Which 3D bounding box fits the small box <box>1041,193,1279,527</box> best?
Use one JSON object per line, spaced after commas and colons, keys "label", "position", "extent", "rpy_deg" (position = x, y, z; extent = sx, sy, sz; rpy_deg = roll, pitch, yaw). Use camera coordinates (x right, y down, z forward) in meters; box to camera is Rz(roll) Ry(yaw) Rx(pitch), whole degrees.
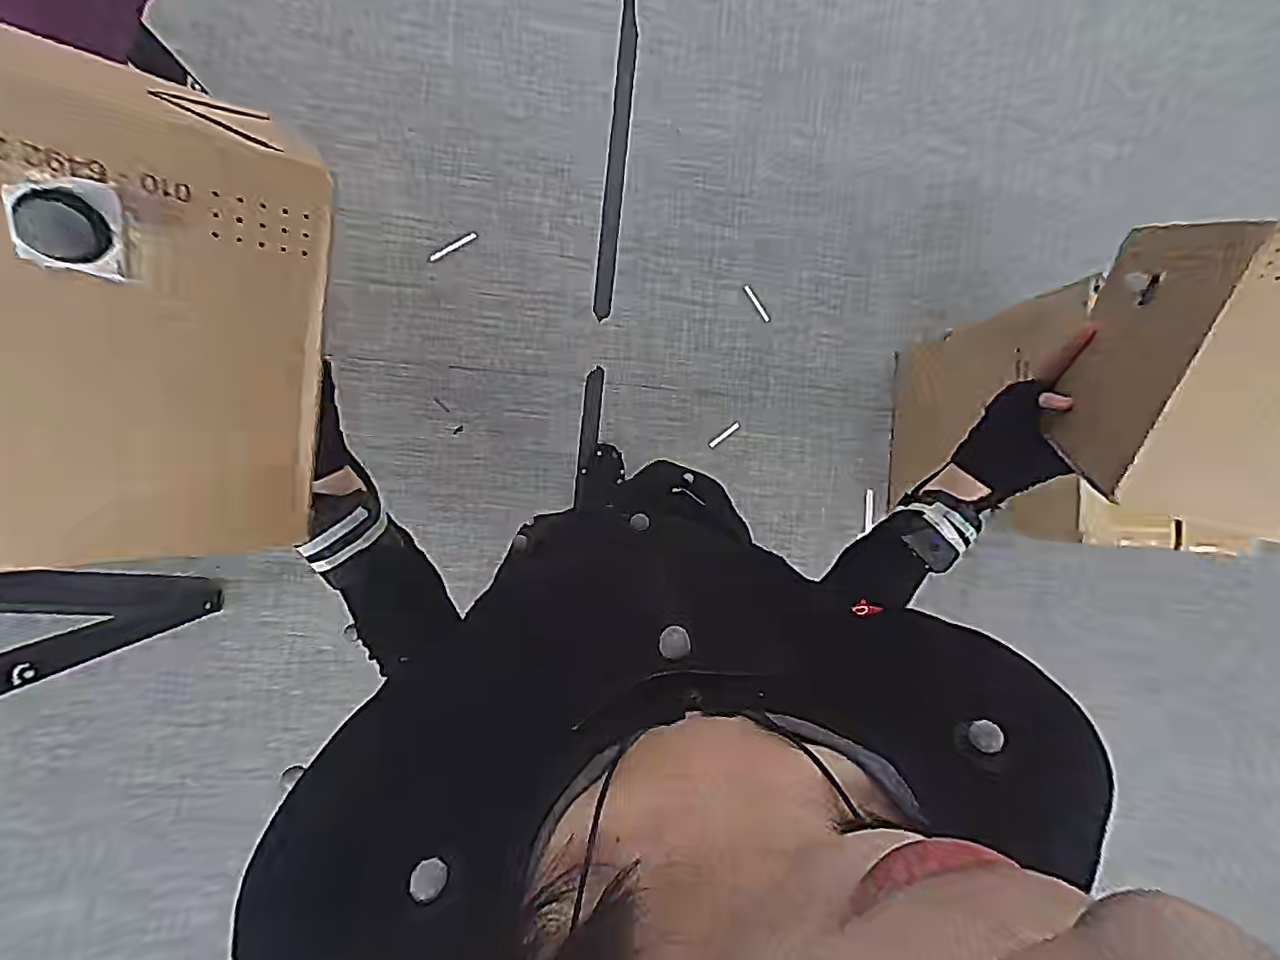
{"label": "small box", "position": [0.408, -0.080, 0.350], "extent": [0.168, 0.179, 0.176], "rpy_deg": [15, 118, 16]}

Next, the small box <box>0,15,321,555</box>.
{"label": "small box", "position": [-0.240, -0.088, 0.223], "extent": [0.168, 0.179, 0.176], "rpy_deg": [-4, 124, -38]}
